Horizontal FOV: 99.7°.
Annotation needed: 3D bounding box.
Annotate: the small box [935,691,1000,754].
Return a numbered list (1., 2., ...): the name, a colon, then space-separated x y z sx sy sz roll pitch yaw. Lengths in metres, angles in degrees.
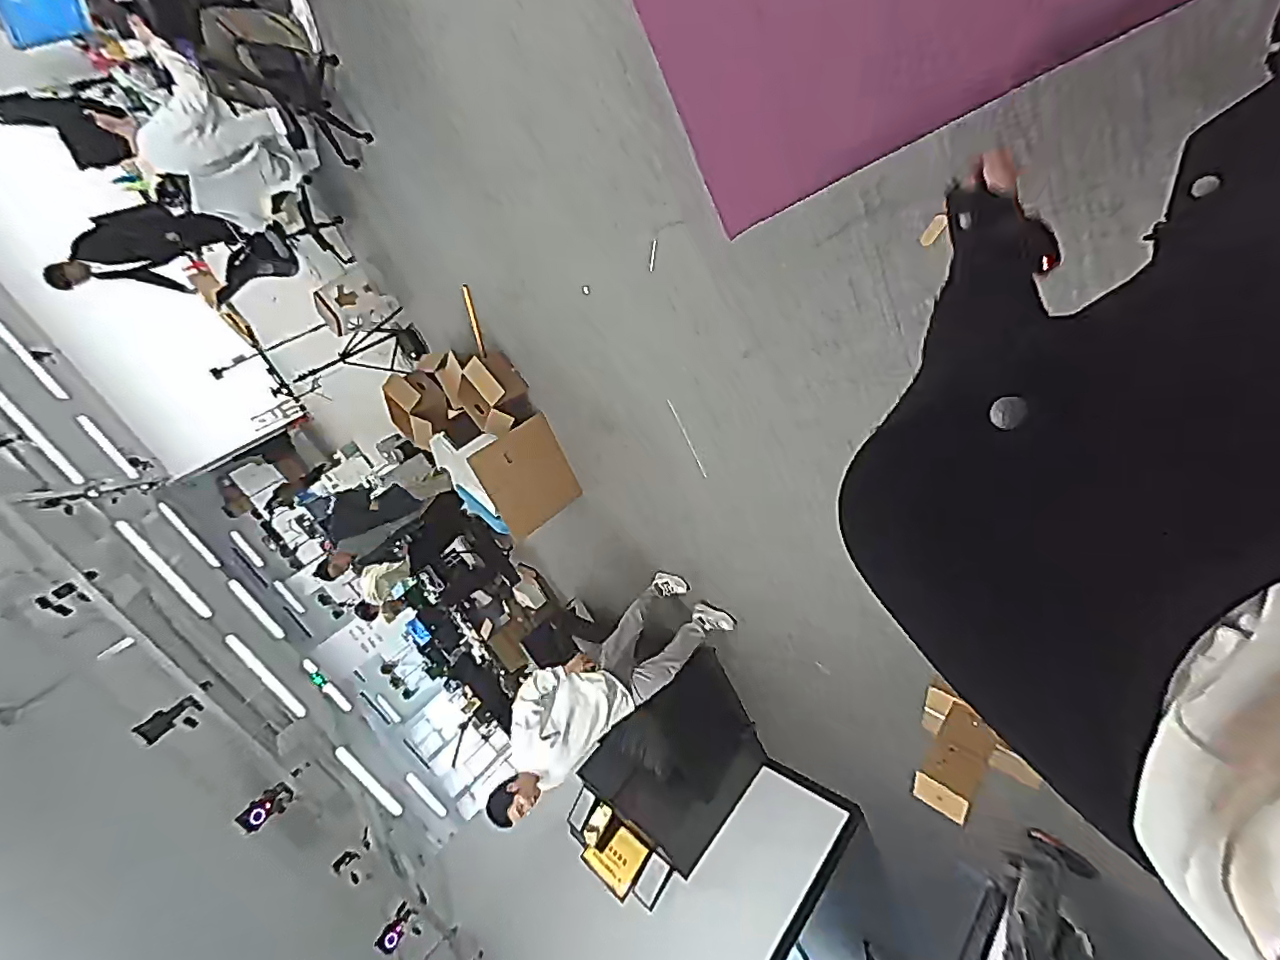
1. small box: 1.192 0.920 1.985 0.168 0.176 0.179 23 140 39

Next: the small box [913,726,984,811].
1. small box: 1.084 1.006 1.899 0.168 0.176 0.179 22 140 40
